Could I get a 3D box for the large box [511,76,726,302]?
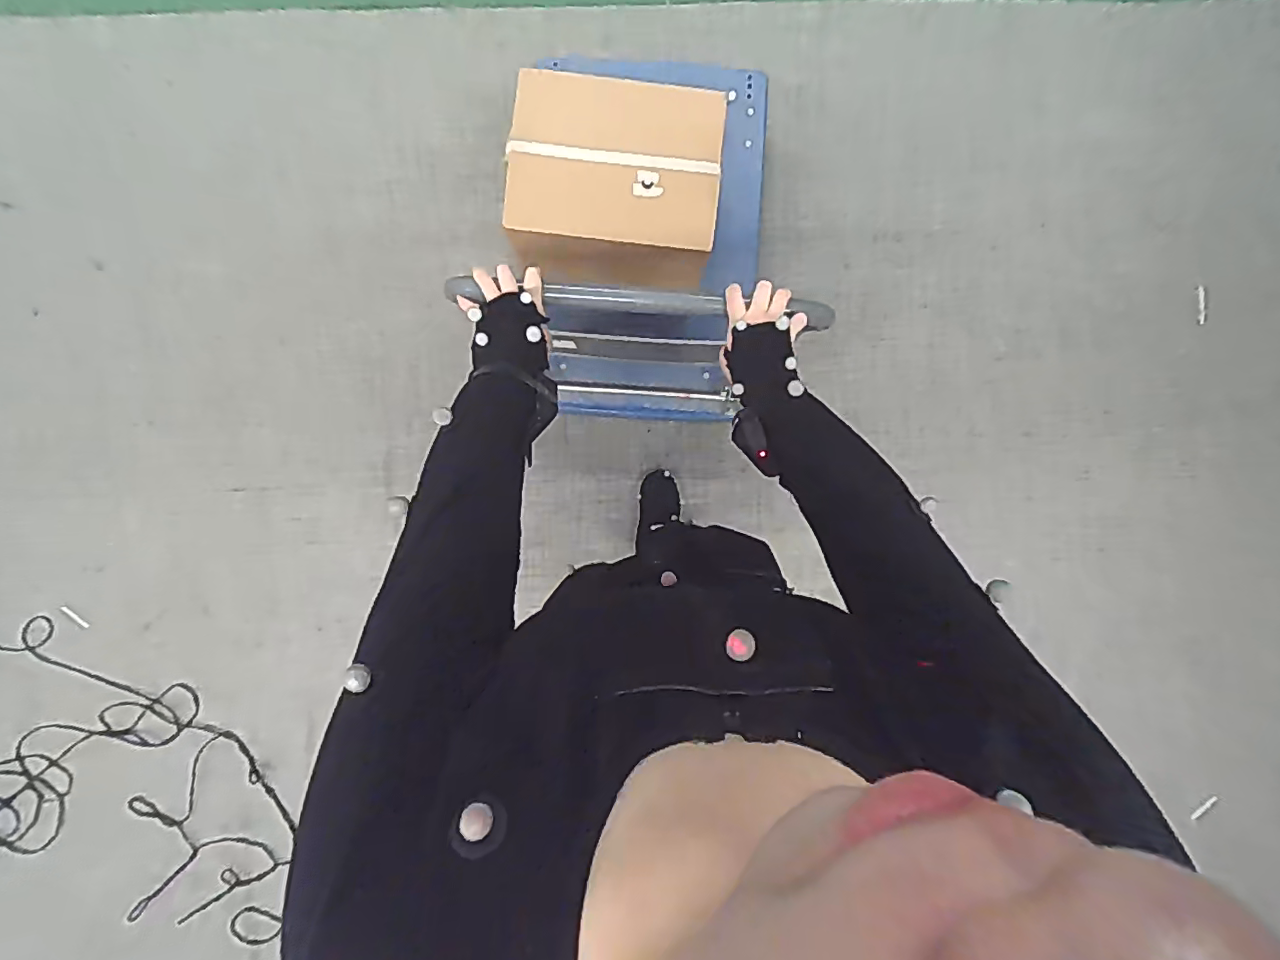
[{"bbox_3d":[-0.046,-0.613,1.199,0.408,0.320,0.320,6,89,-1],"label":"large box"}]
